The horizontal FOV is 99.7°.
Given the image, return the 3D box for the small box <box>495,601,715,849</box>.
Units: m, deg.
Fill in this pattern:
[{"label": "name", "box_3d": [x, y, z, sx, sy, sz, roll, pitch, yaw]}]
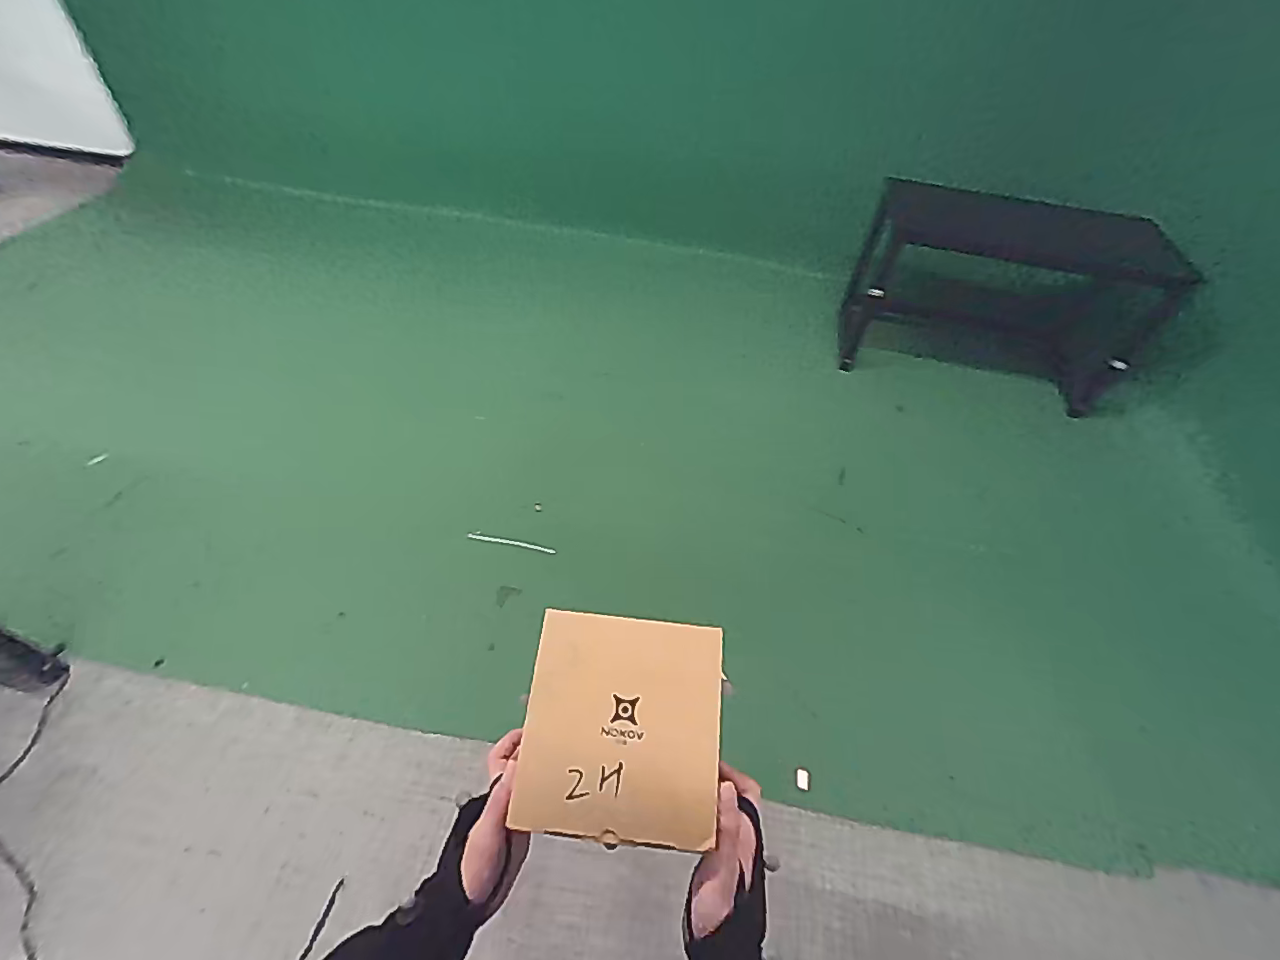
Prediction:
[{"label": "small box", "box_3d": [-0.024, 0.233, 0.521, 0.168, 0.176, 0.179, 6, 62, 2]}]
